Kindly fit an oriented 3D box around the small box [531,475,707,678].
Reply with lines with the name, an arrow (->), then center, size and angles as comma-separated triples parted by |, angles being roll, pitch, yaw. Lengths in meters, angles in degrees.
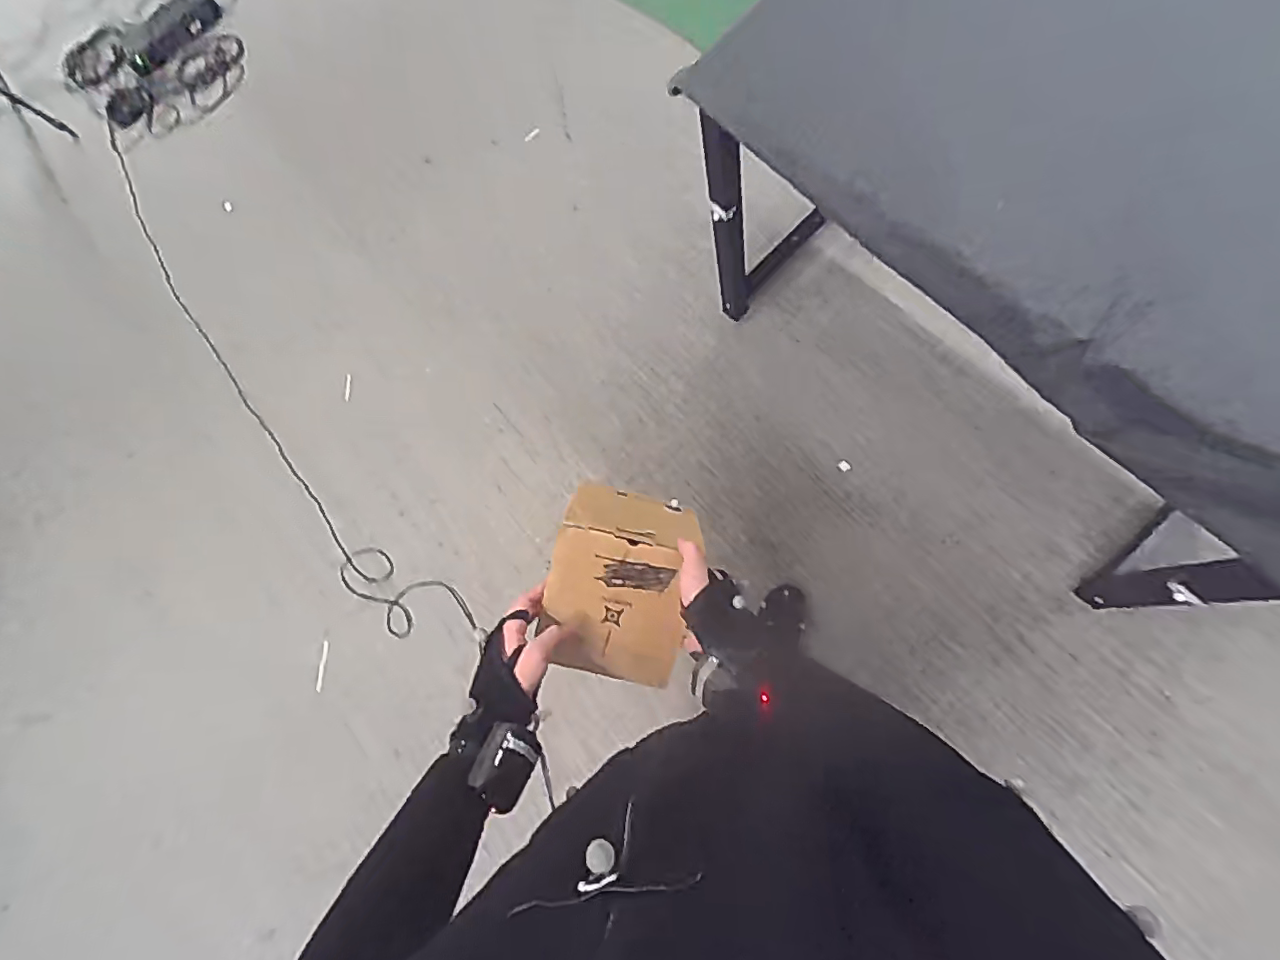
small box -> -0.025, 0.108, 0.676 | 0.168, 0.176, 0.179 | 14, 106, -2
